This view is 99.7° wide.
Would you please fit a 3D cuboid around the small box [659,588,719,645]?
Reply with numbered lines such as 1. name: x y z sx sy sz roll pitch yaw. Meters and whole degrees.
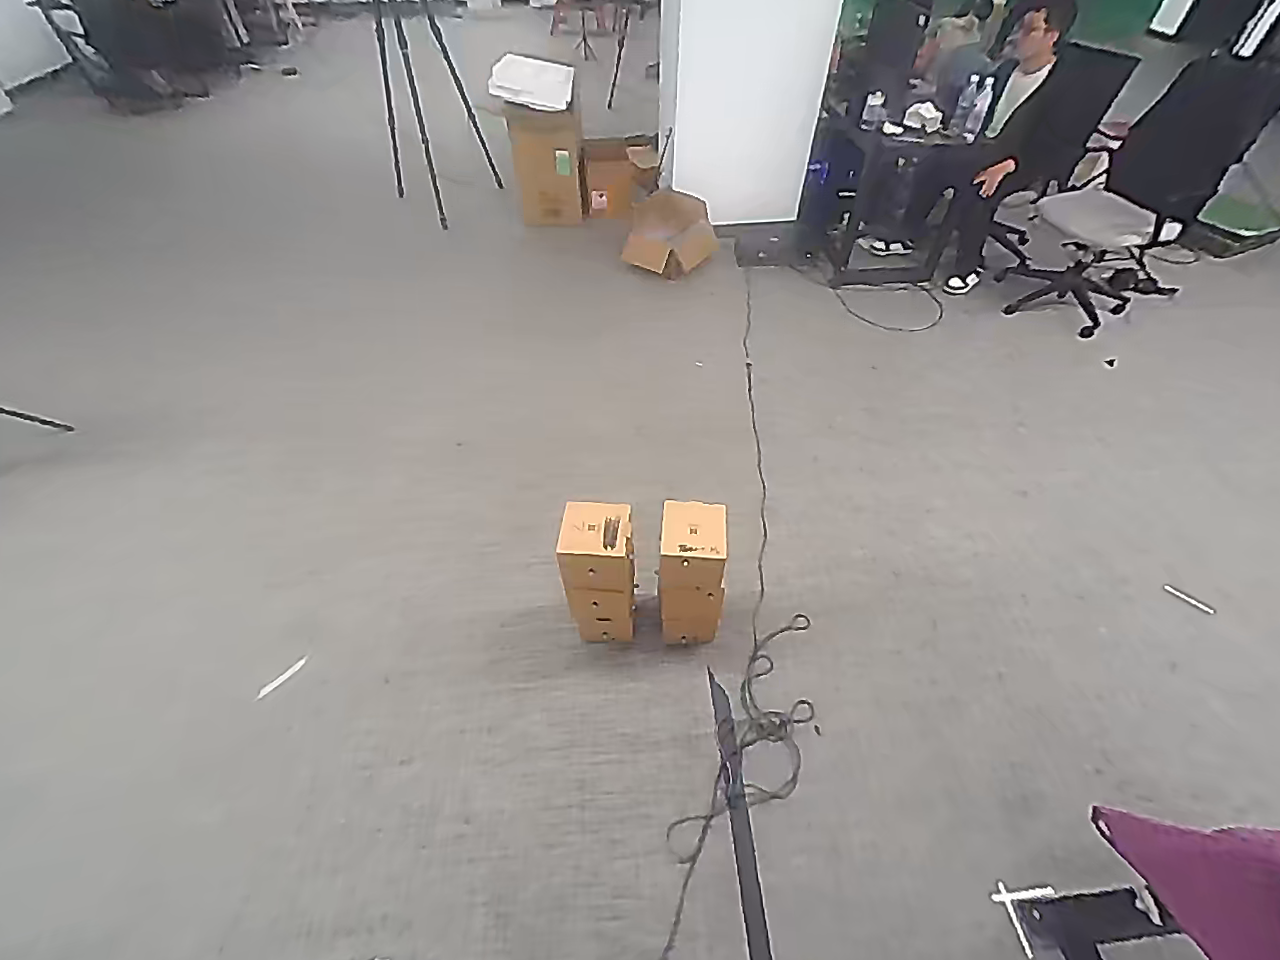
1. small box: 0.147 0.397 1.691 0.168 0.176 0.179 -3 49 -1

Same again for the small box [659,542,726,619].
1. small box: 0.146 0.291 1.569 0.179 0.176 0.168 -2 49 -1

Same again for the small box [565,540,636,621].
1. small box: -0.106 0.294 1.562 0.179 0.176 0.168 3 49 5

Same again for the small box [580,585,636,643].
1. small box: -0.099 0.390 1.696 0.168 0.176 0.179 0 49 2

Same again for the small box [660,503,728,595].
1. small box: 0.143 0.184 1.444 0.168 0.176 0.179 4 48 4
